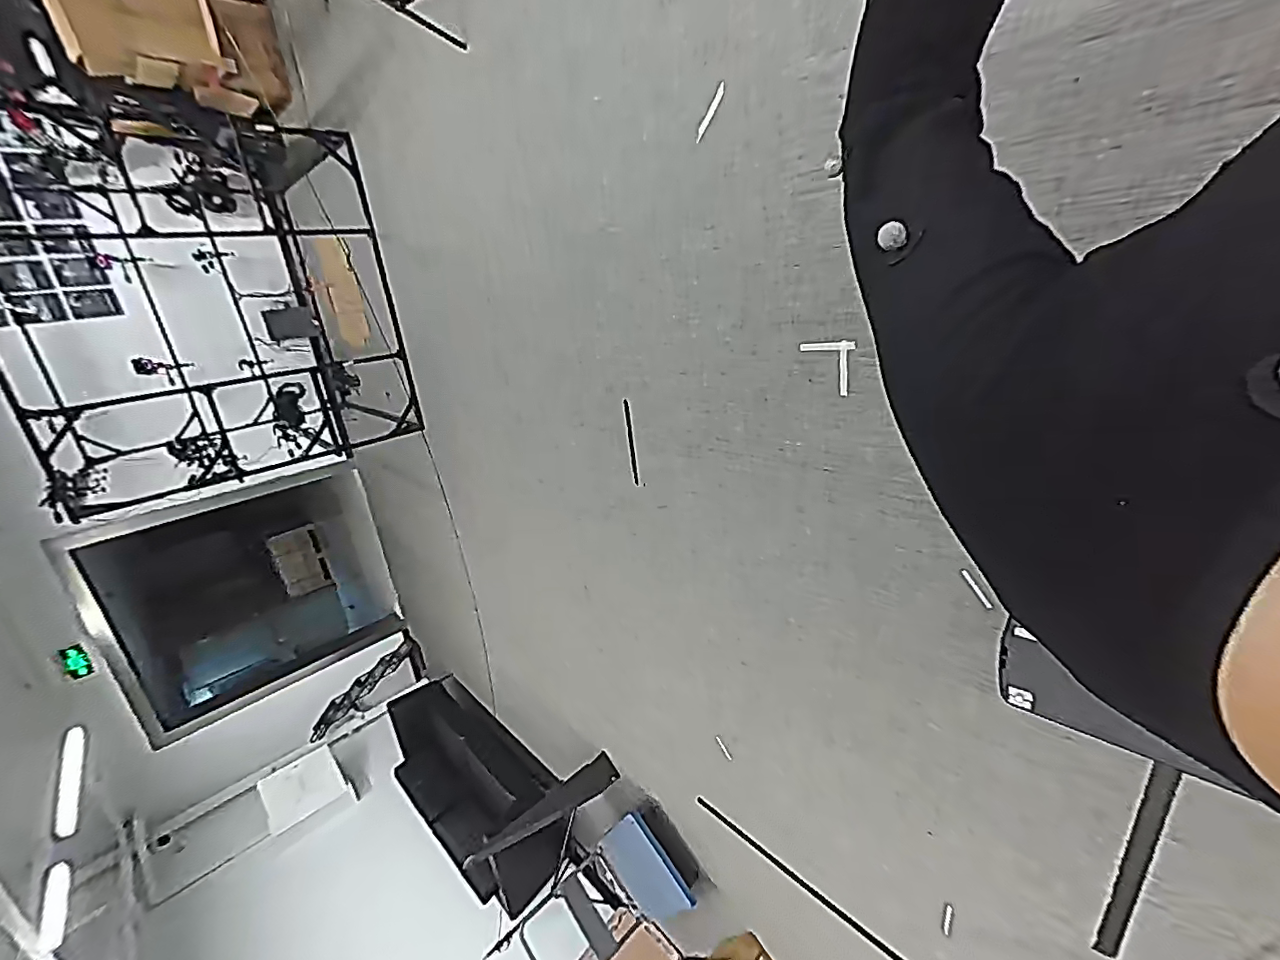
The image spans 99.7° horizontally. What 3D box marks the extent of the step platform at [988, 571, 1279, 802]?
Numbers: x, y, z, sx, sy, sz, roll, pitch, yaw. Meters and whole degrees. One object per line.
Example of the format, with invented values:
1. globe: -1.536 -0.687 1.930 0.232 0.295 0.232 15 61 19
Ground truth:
1. step platform: 1.148 0.433 1.150 0.684 0.204 0.286 13 118 47
